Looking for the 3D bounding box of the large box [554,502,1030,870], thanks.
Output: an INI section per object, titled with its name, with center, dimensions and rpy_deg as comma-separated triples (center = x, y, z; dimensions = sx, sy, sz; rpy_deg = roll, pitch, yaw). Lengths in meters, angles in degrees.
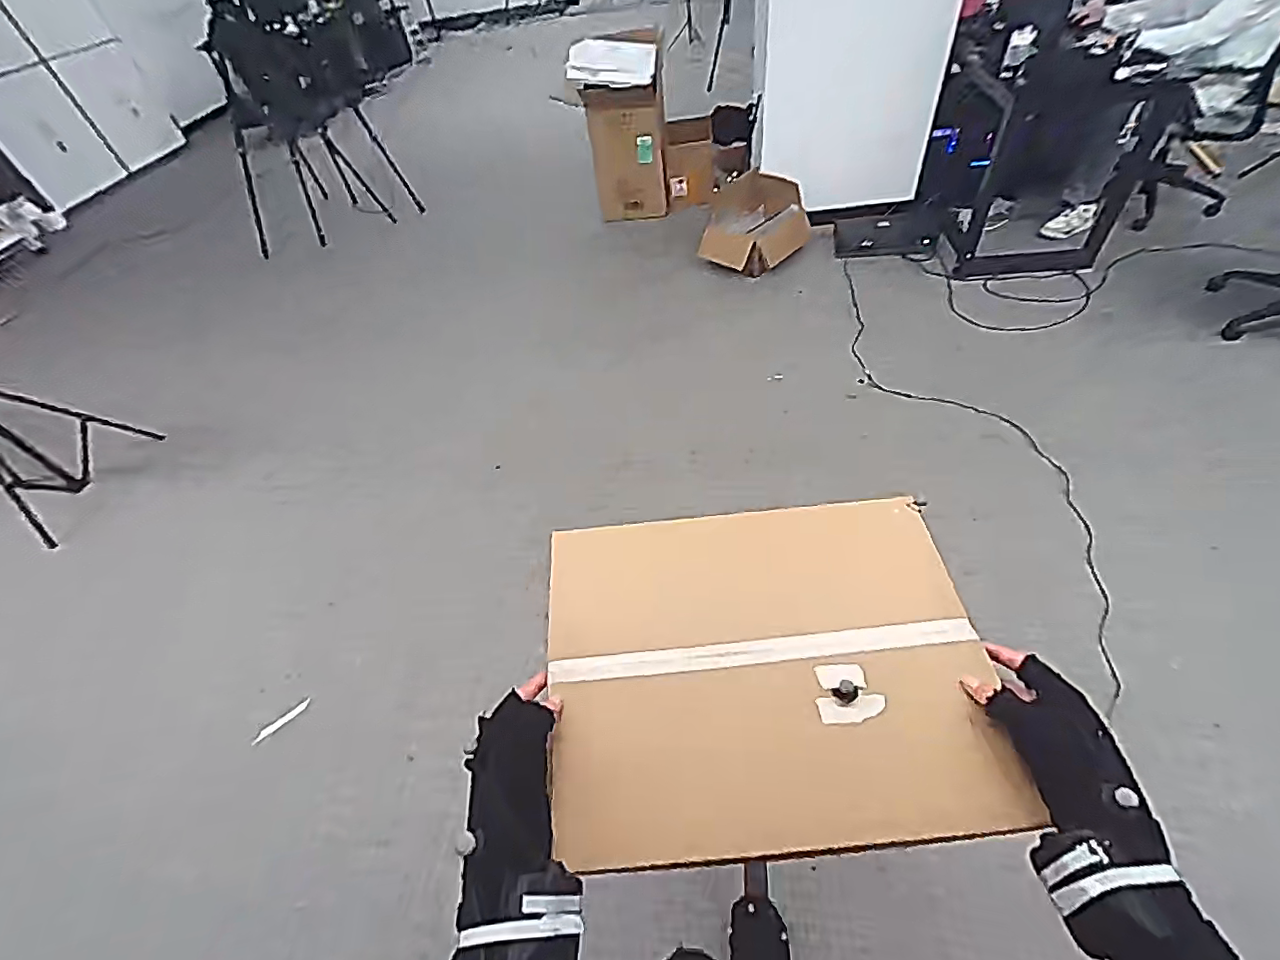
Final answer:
[large box]
center = 0.122, 0.257, 0.649
dimensions = 0.408, 0.320, 0.320
rpy_deg = -6, 54, 1
